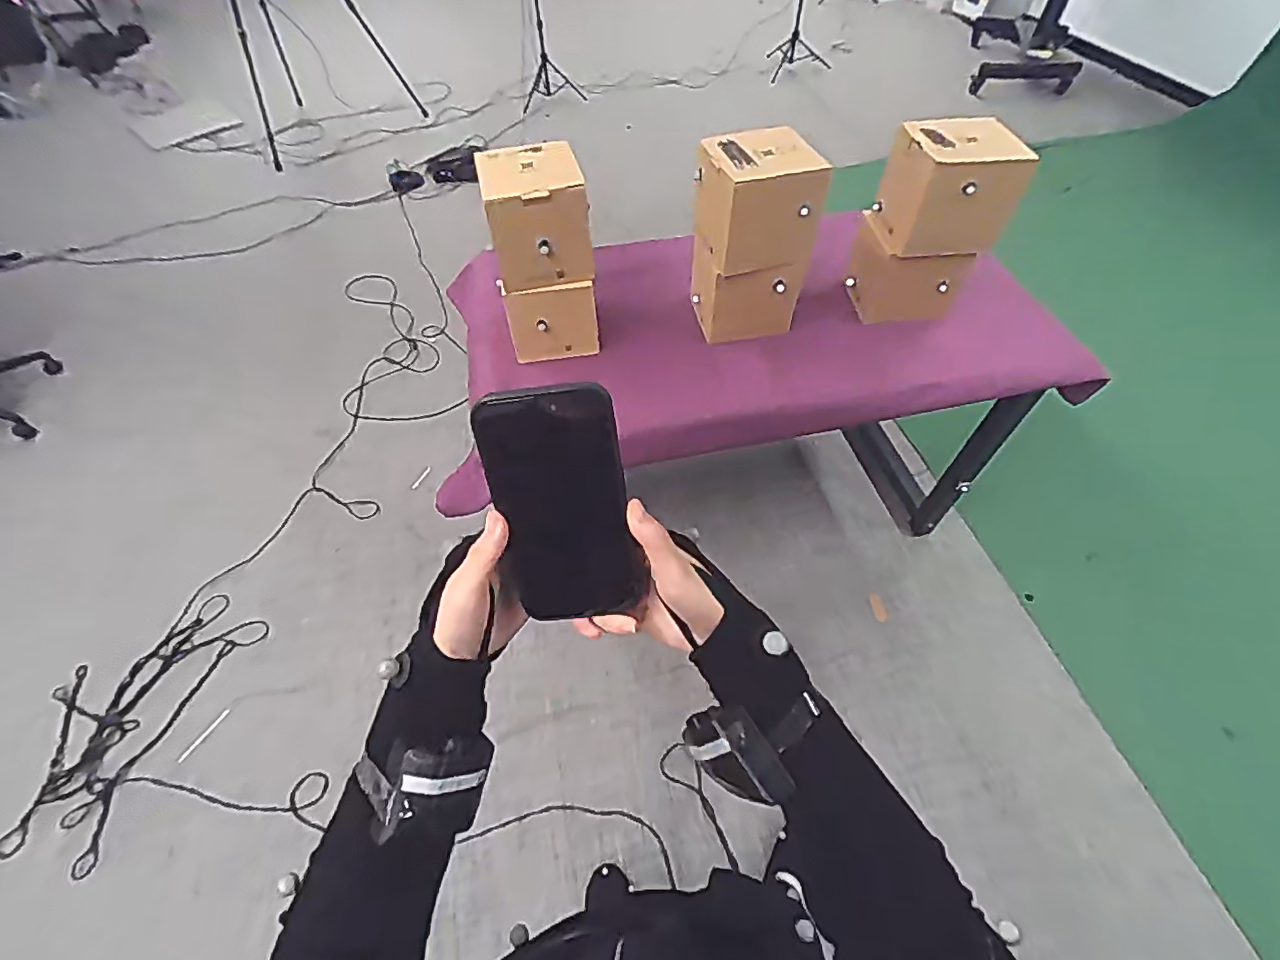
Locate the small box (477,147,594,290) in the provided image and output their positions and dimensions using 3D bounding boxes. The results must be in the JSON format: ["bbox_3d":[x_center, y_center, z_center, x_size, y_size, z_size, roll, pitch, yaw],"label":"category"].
[{"bbox_3d":[-0.182,-0.456,0.963,0.168,0.176,0.179,-12,55,-8],"label":"small box"}]

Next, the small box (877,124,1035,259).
[{"bbox_3d":[0.557,-0.523,0.989,0.179,0.176,0.168,-4,53,-2],"label":"small box"}]

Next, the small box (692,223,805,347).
[{"bbox_3d":[0.212,-0.397,1.108,0.179,0.176,0.168,-9,54,-5],"label":"small box"}]

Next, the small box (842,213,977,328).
[{"bbox_3d":[0.550,-0.437,1.129,0.179,0.176,0.168,-4,53,-1],"label":"small box"}]

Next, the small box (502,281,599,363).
[{"bbox_3d":[-0.176,-0.352,1.090,0.168,0.176,0.179,-8,54,-4],"label":"small box"}]
